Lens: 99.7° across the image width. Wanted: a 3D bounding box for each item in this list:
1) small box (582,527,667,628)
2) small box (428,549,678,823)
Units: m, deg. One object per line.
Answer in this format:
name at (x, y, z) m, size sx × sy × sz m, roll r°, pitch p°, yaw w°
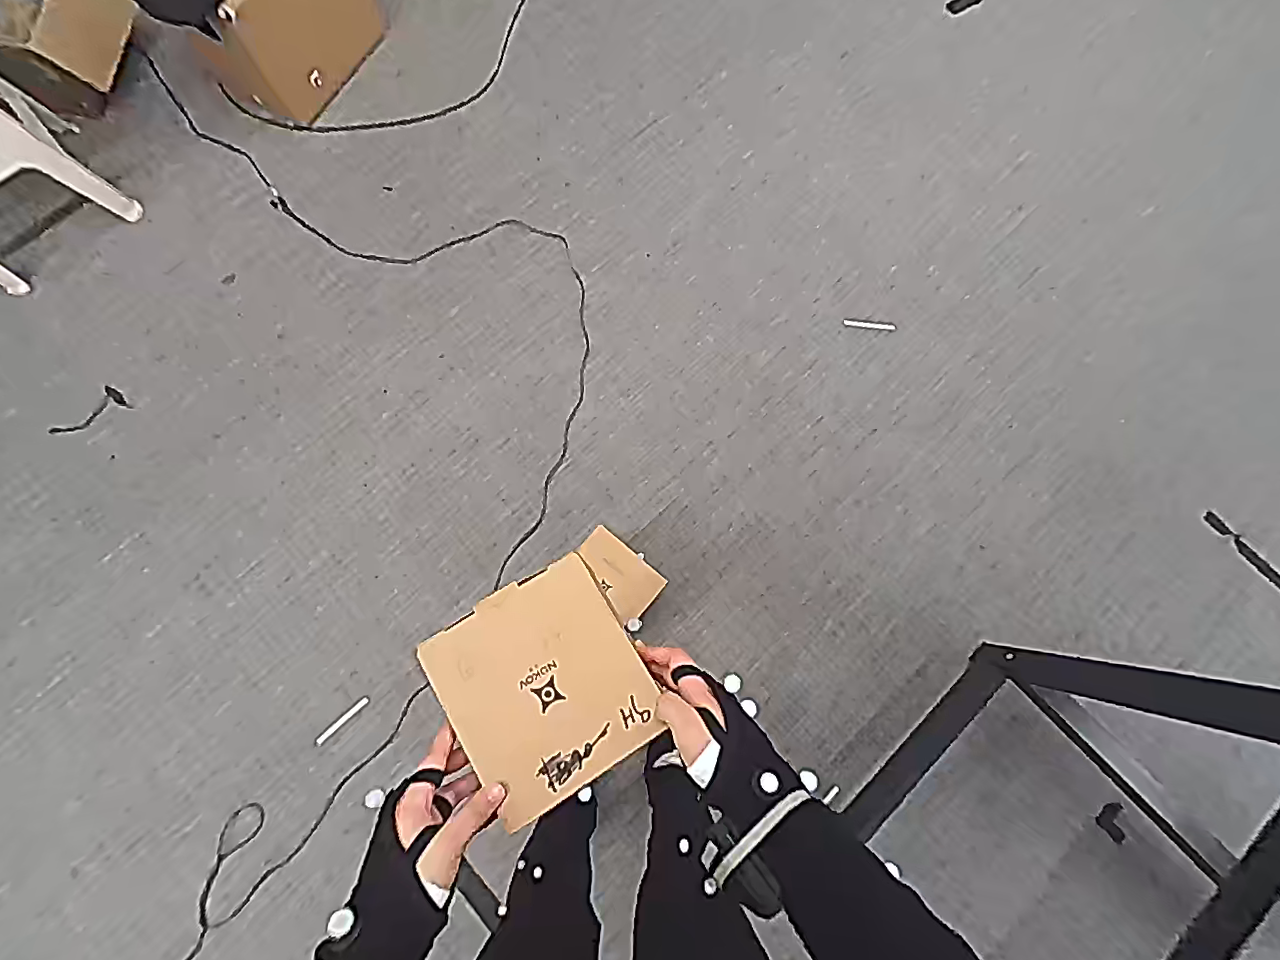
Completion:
small box at (-0.067, 0.218, 1.046) m, size 0.168 × 0.176 × 0.179 m, roll 40°, pitch 79°, yaw 6°
small box at (-0.079, 0.198, 0.553) m, size 0.168 × 0.176 × 0.179 m, roll -32°, pitch 76°, yaw -8°
